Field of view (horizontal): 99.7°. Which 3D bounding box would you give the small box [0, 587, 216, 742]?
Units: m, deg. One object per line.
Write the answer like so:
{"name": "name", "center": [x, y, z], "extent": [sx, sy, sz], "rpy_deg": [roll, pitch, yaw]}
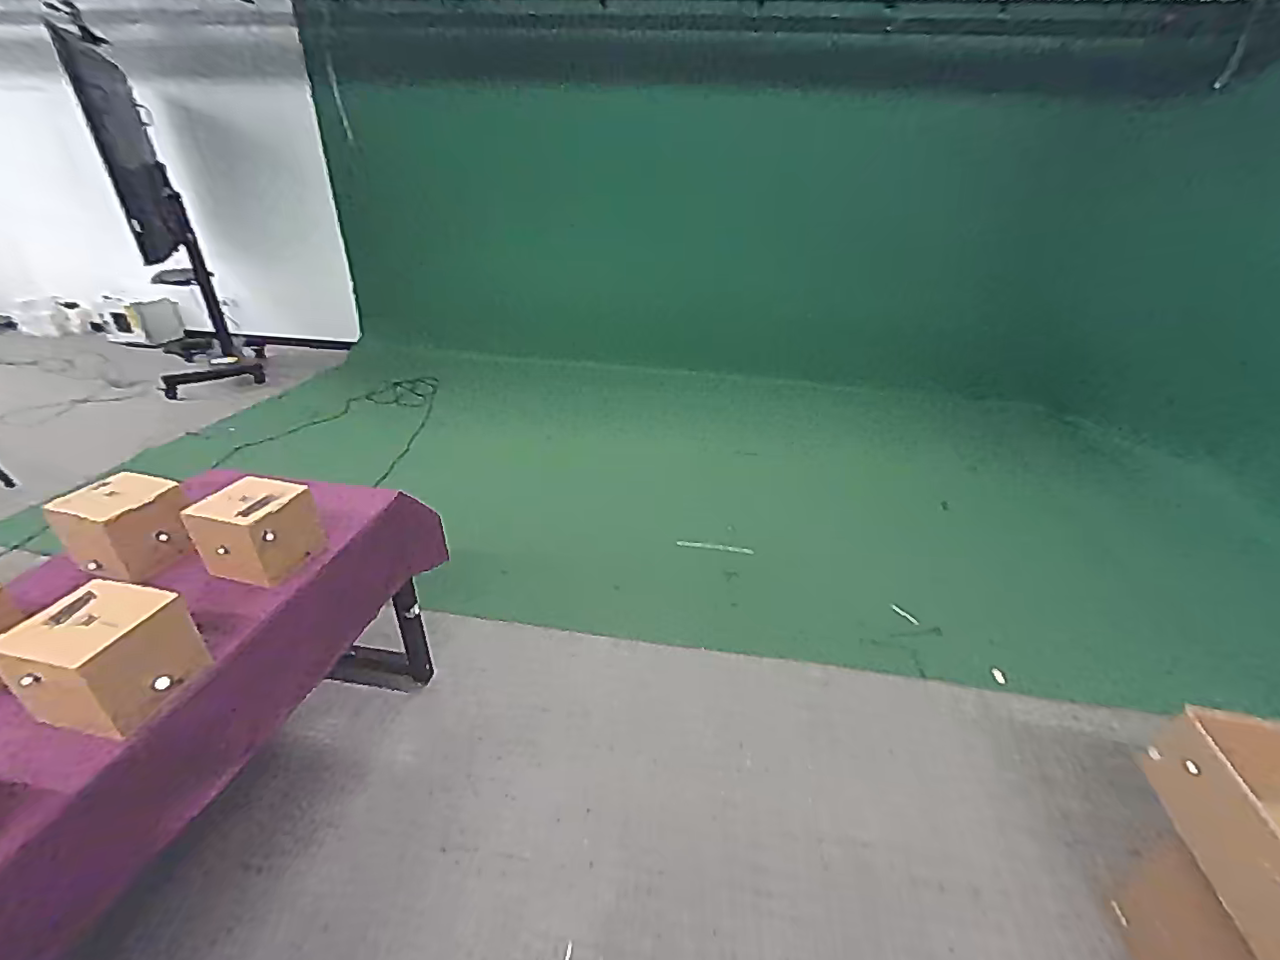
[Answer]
{"name": "small box", "center": [-0.872, 0.305, 0.901], "extent": [0.179, 0.176, 0.168], "rpy_deg": [7, 30, 10]}

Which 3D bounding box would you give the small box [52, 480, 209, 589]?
{"name": "small box", "center": [-1.132, 0.123, 1.218], "extent": [0.179, 0.176, 0.168], "rpy_deg": [10, 30, 13]}
